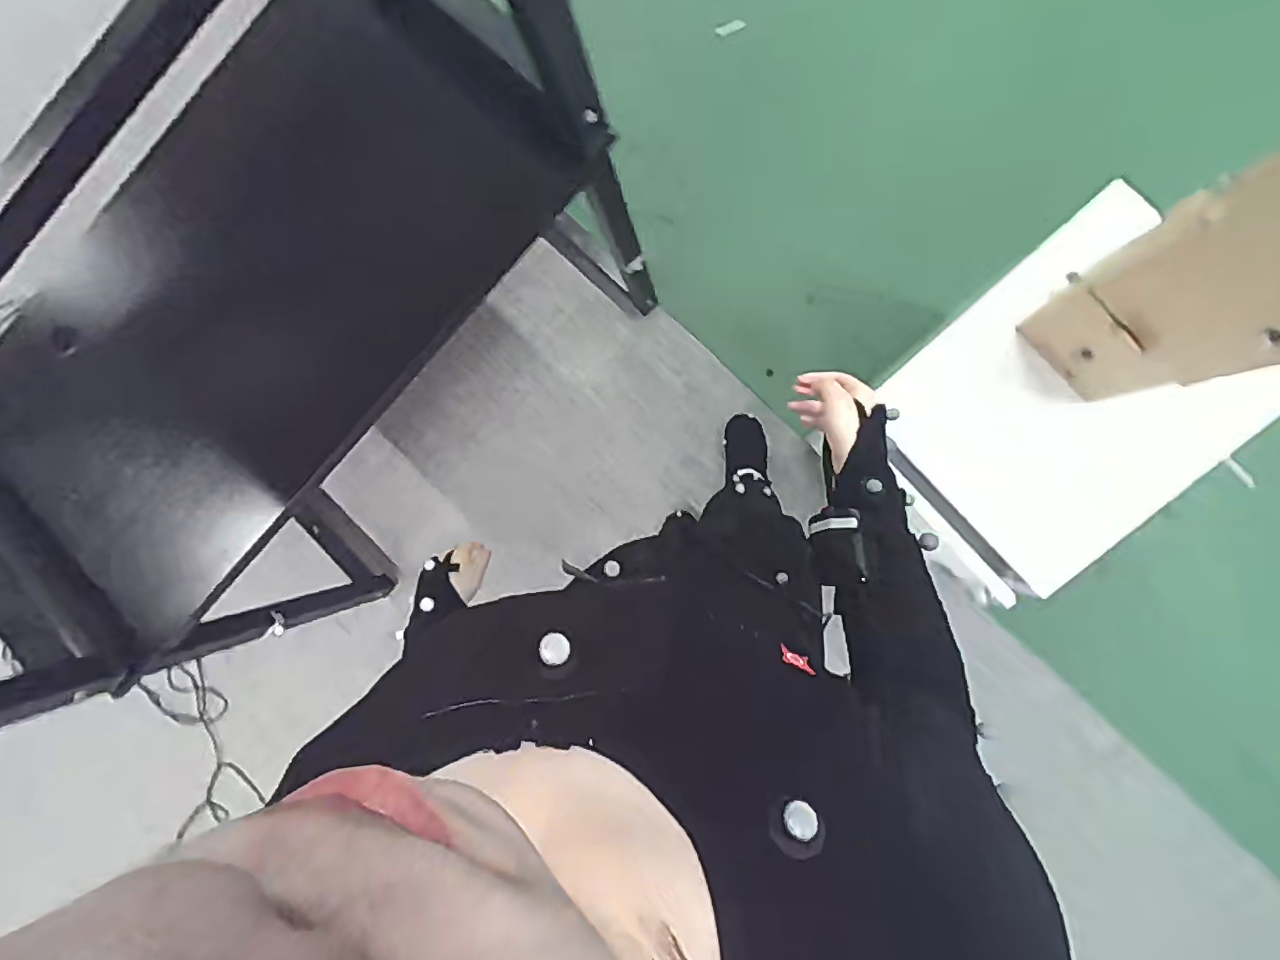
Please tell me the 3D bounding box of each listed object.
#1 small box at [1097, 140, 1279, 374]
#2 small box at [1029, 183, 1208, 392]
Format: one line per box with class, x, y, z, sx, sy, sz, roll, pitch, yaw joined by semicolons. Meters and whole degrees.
small box;0.649;-0.235;0.563;0.168;0.176;0.179;-39;86;6
small box;0.671;-0.239;0.724;0.179;0.176;0.168;-42;85;6
